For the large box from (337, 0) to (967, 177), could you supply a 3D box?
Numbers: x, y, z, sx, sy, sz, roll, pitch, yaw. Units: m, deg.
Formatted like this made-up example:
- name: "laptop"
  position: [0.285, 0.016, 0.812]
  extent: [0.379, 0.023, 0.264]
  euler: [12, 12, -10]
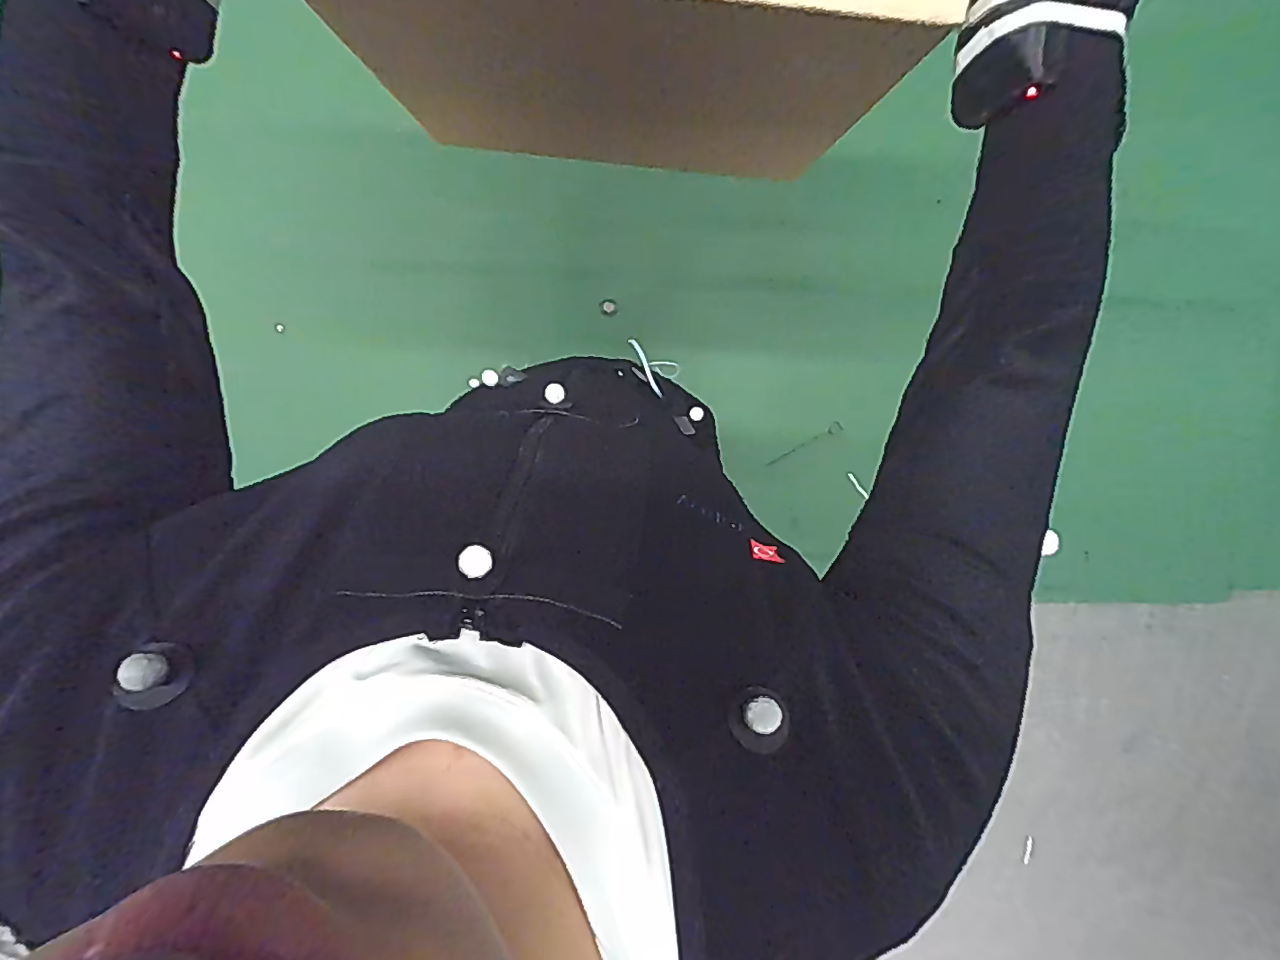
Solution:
- name: "large box"
  position: [0.001, -0.467, 0.426]
  extent: [0.408, 0.320, 0.320]
  euler: [4, 104, -4]
